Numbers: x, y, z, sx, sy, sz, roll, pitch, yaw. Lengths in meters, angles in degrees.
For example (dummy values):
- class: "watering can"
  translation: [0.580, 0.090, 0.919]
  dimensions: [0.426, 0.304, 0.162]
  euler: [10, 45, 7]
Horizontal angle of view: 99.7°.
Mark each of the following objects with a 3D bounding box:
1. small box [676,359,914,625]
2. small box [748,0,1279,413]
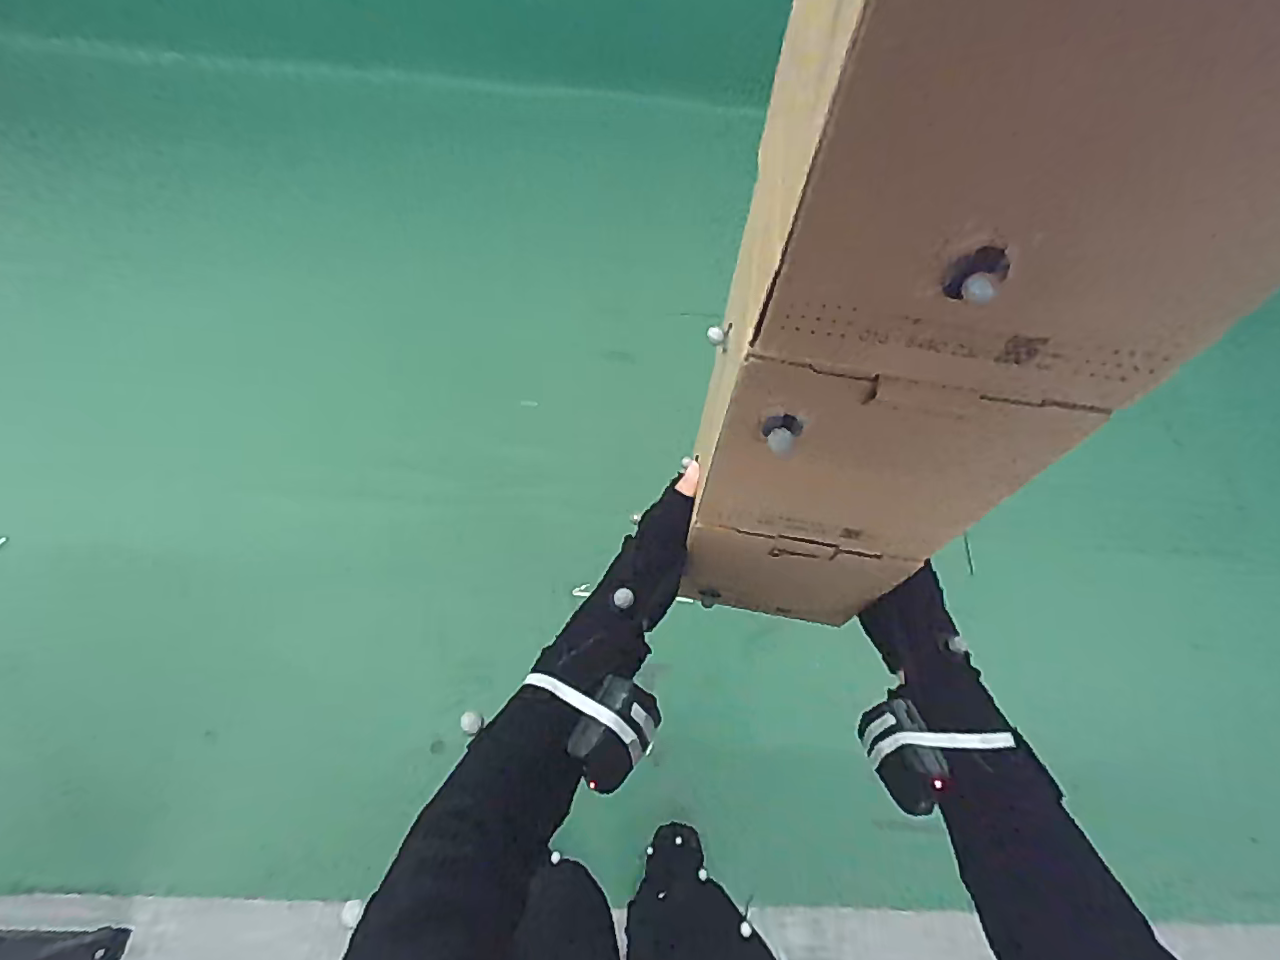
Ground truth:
- class: "small box"
  translation: [0.130, 0.019, 0.503]
  dimensions: [0.168, 0.176, 0.179]
  euler: [11, 59, 3]
- class: "small box"
  translation: [0.146, -0.156, 0.227]
  dimensions: [0.168, 0.176, 0.179]
  euler: [9, 59, 2]
